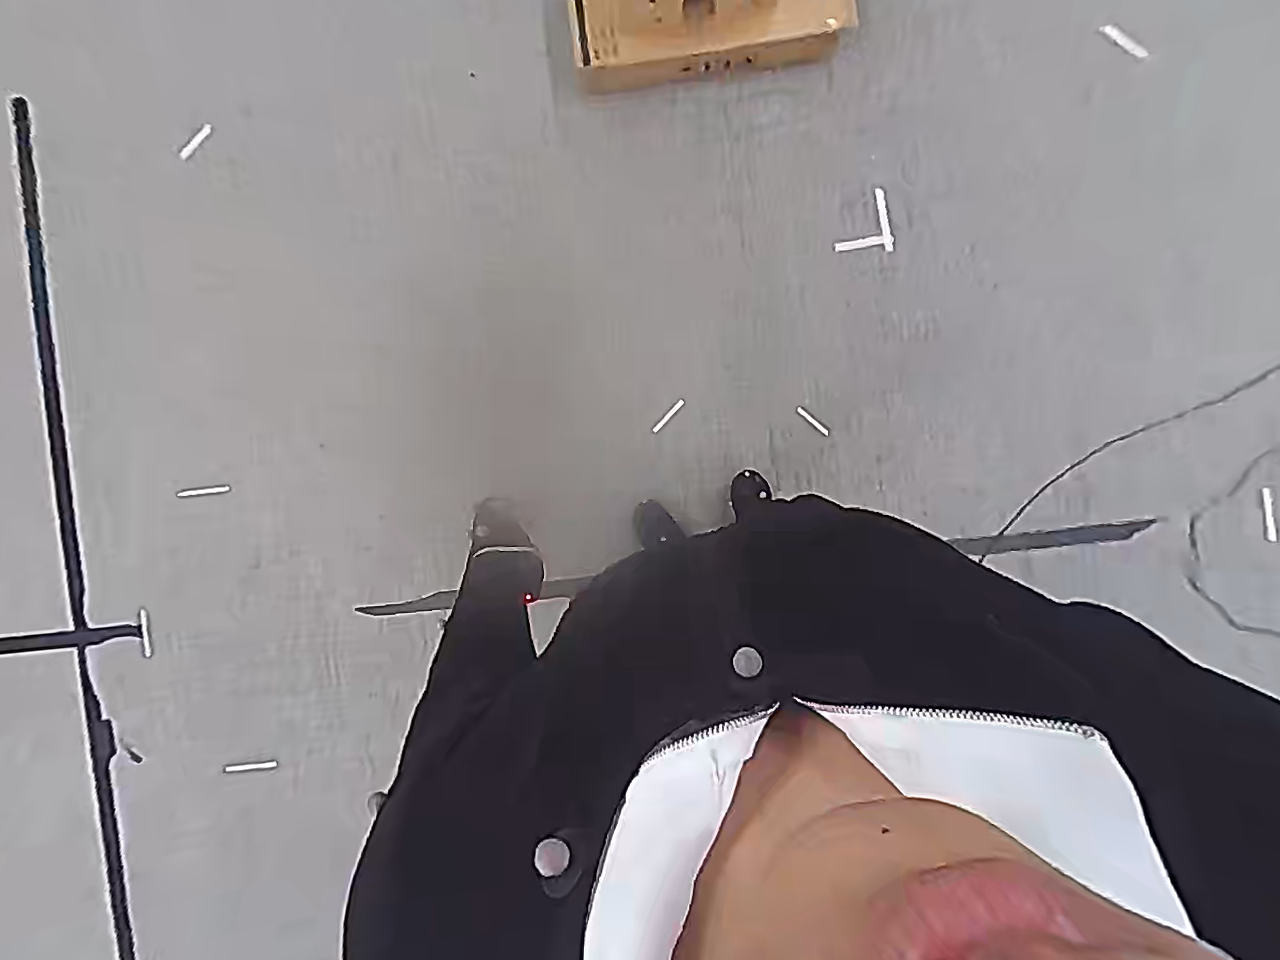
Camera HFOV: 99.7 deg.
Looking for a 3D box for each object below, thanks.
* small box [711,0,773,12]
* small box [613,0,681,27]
[{"bbox_3d":[0.253,-1.305,1.318,0.168,0.176,0.179,-8,89,3],"label":"small box"},{"bbox_3d":[0.008,-1.264,1.327,0.168,0.176,0.179,-10,90,2],"label":"small box"}]
